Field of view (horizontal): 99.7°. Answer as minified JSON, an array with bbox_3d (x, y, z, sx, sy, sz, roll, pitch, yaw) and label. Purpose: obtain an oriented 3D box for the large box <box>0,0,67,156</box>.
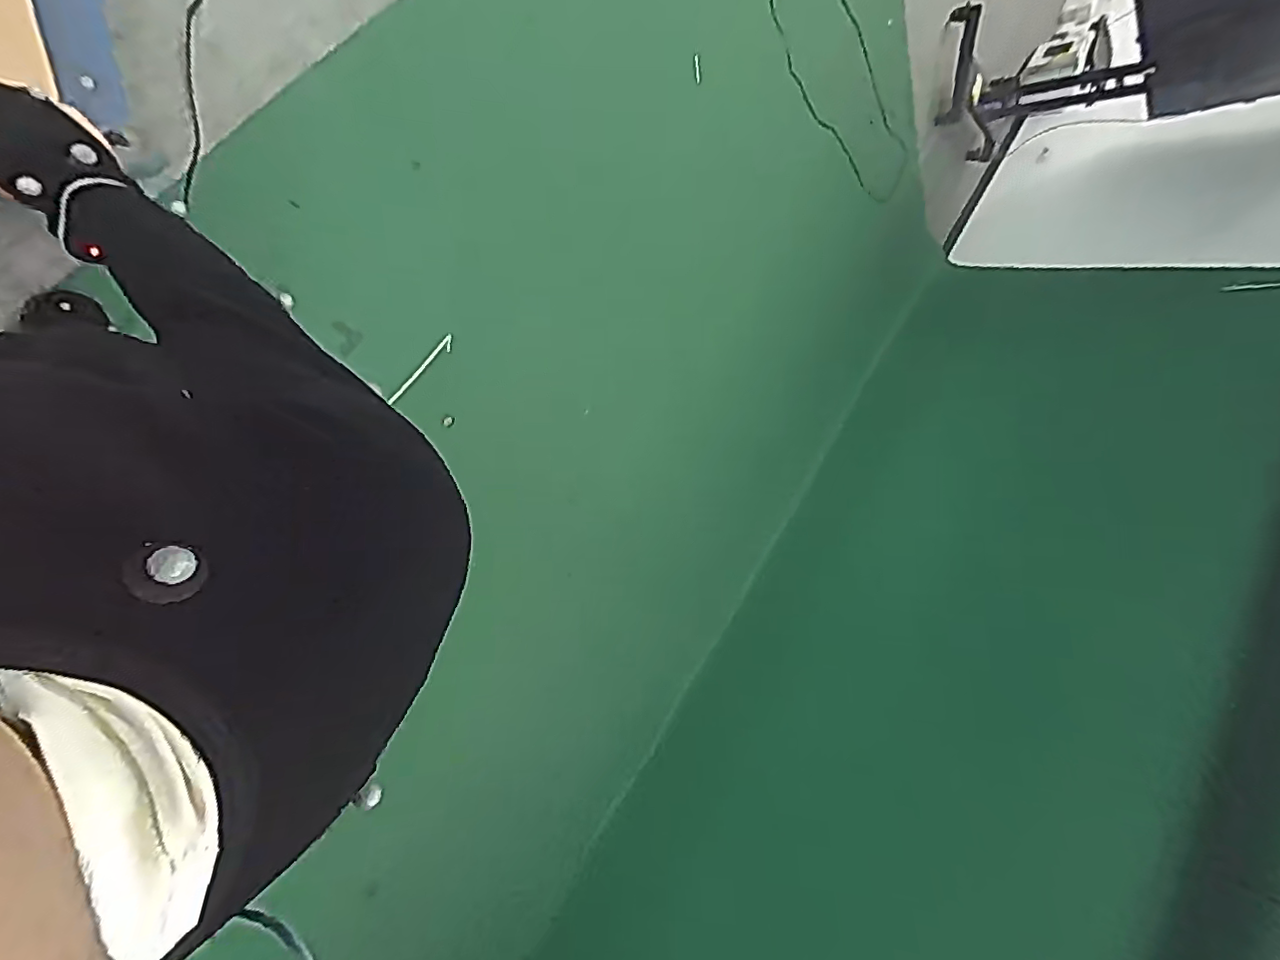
[{"bbox_3d":[-1.017,-0.680,0.688,0.320,0.320,0.408,-18,117,-42],"label":"large box"}]
